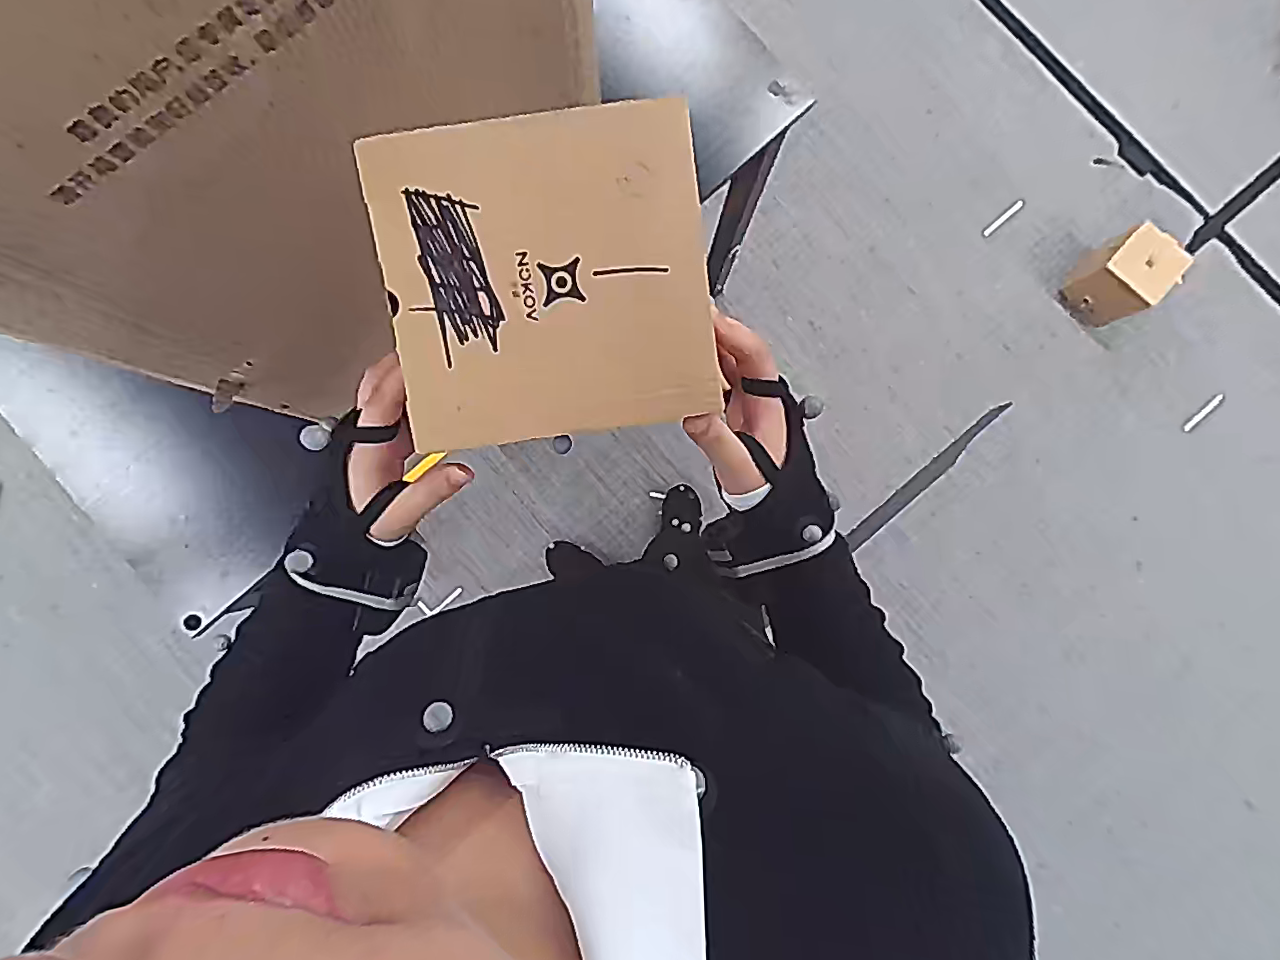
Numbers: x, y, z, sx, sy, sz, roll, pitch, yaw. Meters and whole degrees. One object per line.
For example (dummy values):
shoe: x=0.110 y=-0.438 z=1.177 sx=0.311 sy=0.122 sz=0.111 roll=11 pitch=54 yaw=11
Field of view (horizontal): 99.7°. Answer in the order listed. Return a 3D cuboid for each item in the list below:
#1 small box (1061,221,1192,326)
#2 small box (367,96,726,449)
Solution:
small box: x=1.326 y=-0.561 z=1.489 sx=0.168 sy=0.176 sz=0.179 roll=42 pitch=88 yaw=2
small box: x=-0.046 y=-0.116 z=0.366 sx=0.179 sy=0.176 sz=0.168 roll=-7 pitch=99 yaw=1
